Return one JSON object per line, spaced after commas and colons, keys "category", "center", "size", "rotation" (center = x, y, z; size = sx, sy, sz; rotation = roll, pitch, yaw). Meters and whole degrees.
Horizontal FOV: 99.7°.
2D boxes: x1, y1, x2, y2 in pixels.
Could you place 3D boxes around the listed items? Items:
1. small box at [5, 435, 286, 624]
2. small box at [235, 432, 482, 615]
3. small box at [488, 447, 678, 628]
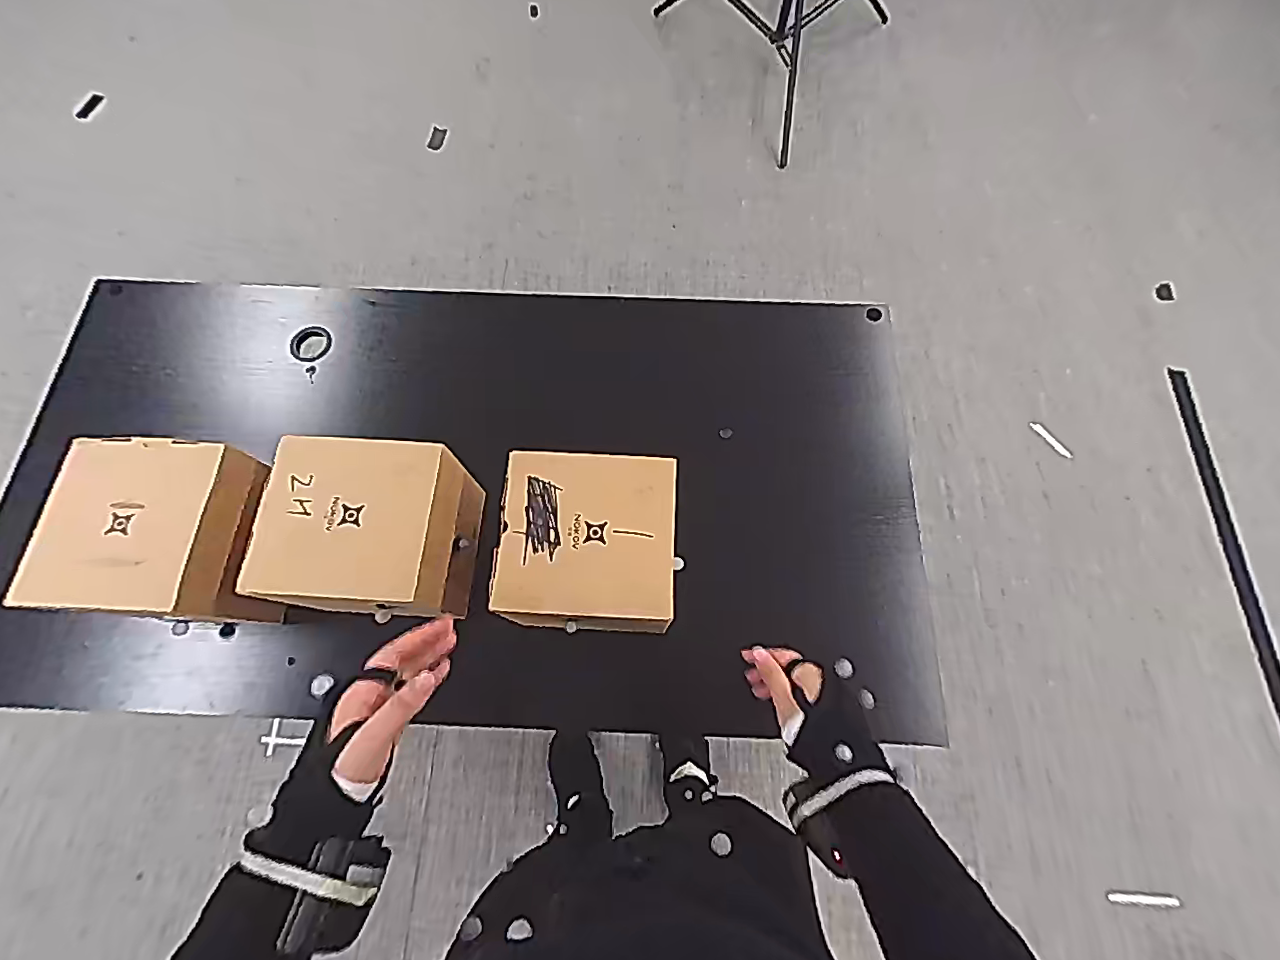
{"category": "small box", "center": [-0.513, 0.064, 0.609], "size": [0.168, 0.176, 0.179], "rotation": [1, 71, 2]}
{"category": "small box", "center": [-0.292, 0.058, 0.609], "size": [0.179, 0.176, 0.168], "rotation": [3, 70, 1]}
{"category": "small box", "center": [-0.052, 0.073, 0.605], "size": [0.179, 0.176, 0.168], "rotation": [3, 71, 0]}
